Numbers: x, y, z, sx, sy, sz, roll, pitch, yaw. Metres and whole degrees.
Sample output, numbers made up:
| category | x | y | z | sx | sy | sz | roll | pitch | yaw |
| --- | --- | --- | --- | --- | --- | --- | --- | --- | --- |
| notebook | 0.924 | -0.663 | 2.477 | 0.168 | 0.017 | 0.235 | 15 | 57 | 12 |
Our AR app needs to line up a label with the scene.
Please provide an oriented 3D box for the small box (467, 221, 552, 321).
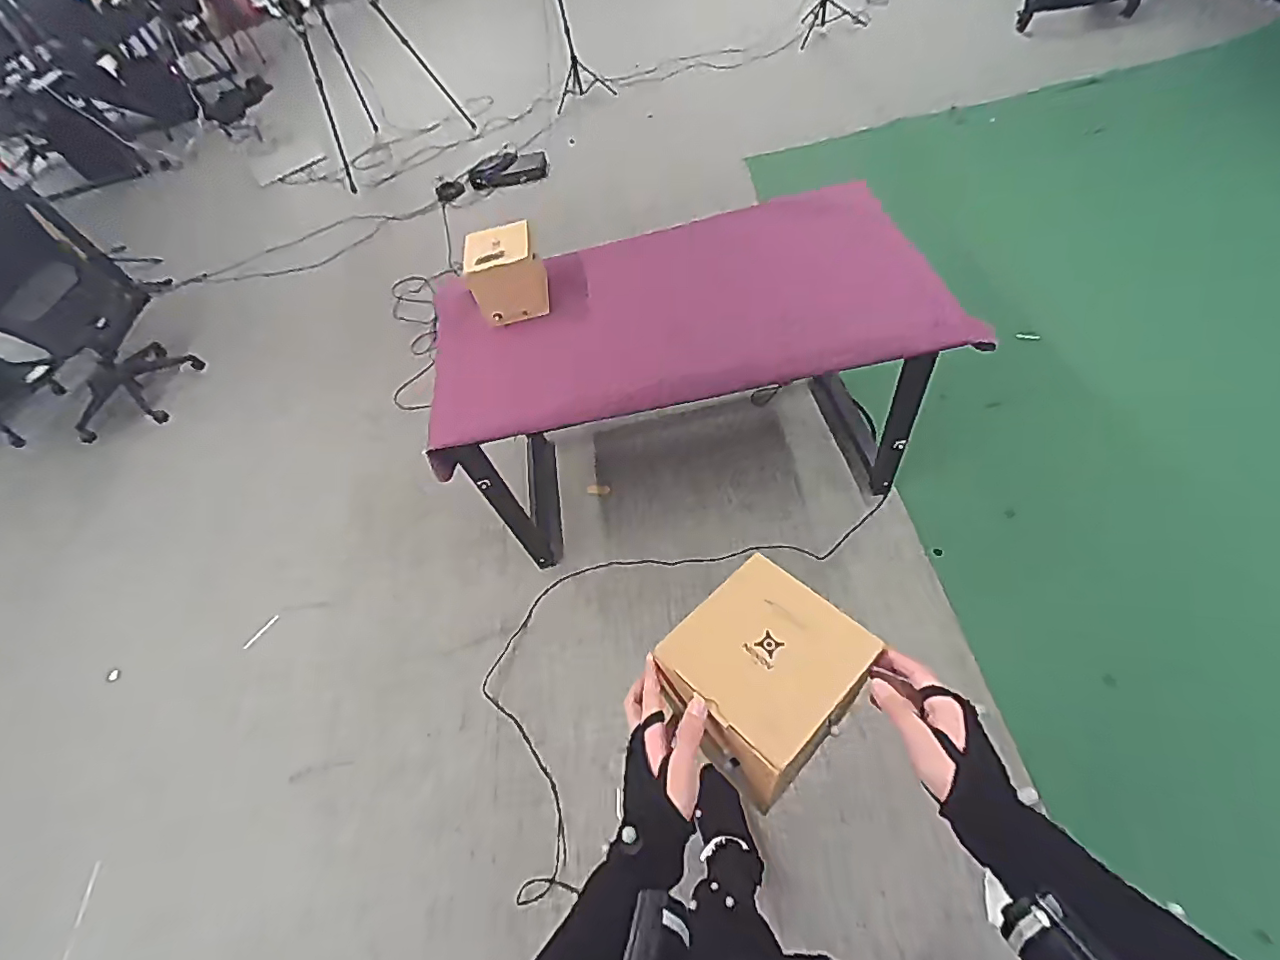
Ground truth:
| category | x | y | z | sx | sy | sz | roll | pitch | yaw |
| --- | --- | --- | --- | --- | --- | --- | --- | --- | --- |
| small box | -0.333 | -0.534 | 1.405 | 0.168 | 0.176 | 0.179 | -12 | 54 | 4 |
